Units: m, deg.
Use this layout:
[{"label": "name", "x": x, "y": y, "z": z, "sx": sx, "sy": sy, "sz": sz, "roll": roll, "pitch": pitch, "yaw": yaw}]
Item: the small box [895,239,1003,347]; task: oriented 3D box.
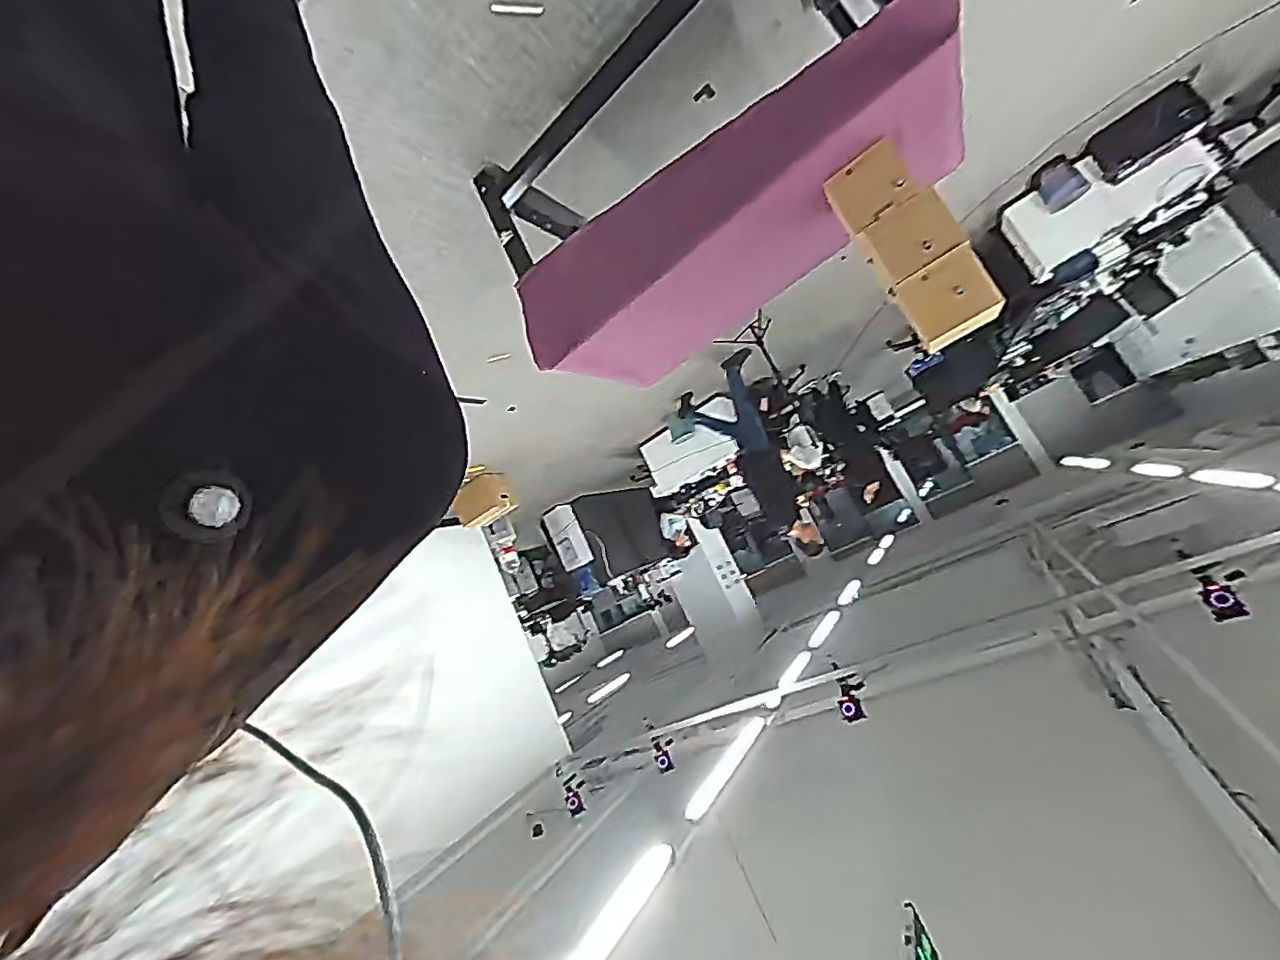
[{"label": "small box", "x": 0.743, "y": -0.453, "z": 1.315, "sx": 0.168, "sy": 0.176, "sz": 0.179, "roll": -32, "pitch": 169, "yaw": 26}]

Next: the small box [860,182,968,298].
[{"label": "small box", "x": 0.675, "y": -0.597, "z": 1.350, "sx": 0.179, "sy": 0.176, "sz": 0.168, "roll": -30, "pitch": 168, "yaw": 20}]
